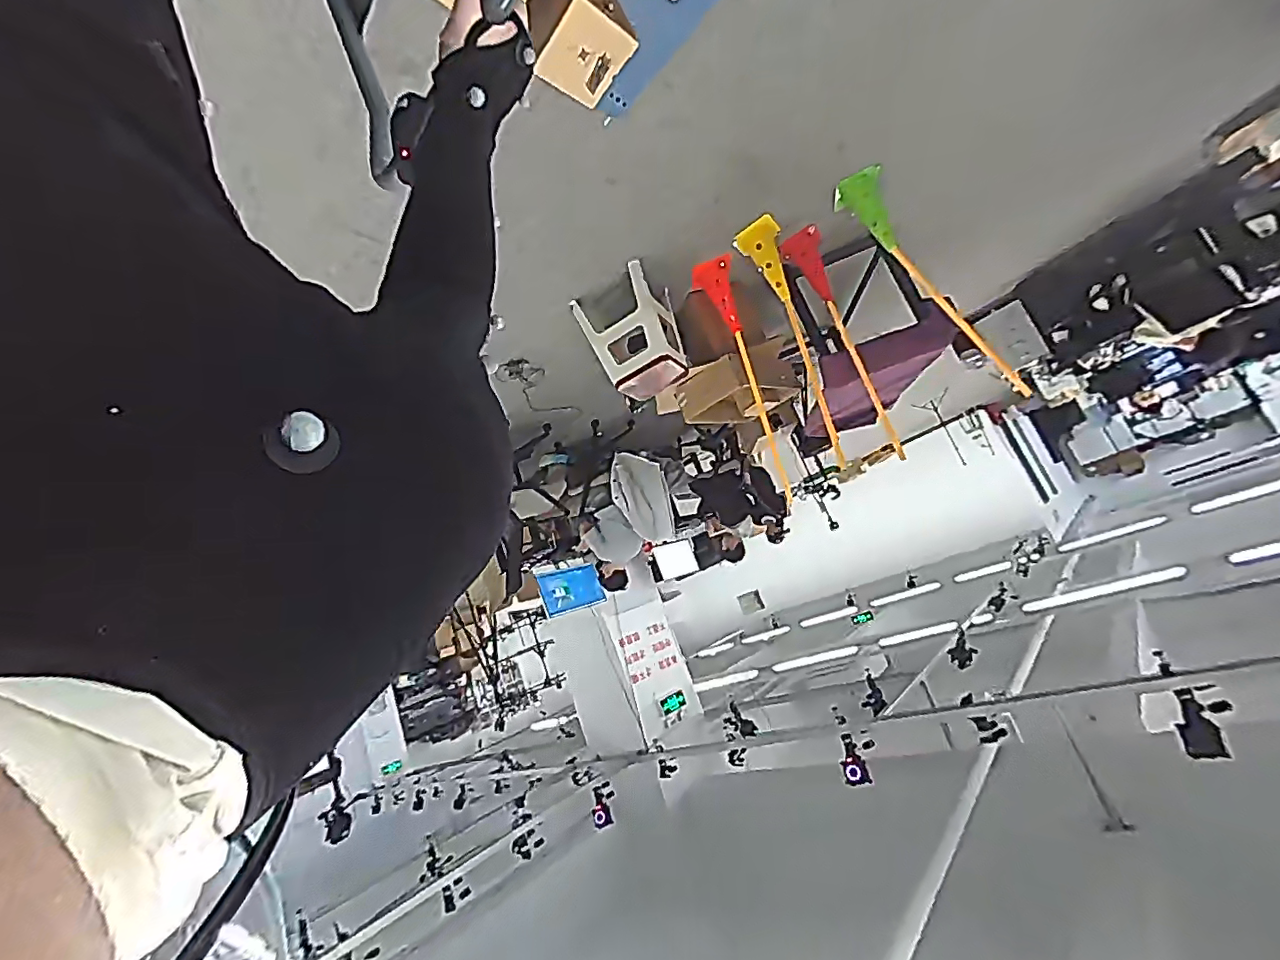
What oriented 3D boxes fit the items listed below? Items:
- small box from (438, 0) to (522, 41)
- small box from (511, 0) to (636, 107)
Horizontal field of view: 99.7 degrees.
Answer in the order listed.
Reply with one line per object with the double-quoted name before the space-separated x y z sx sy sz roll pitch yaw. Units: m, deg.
"small box" -0.298 -0.937 0.934 0.168 0.176 0.179 -31 162 35
"small box" -0.143 -0.945 1.128 0.179 0.176 0.168 -4 158 -48
